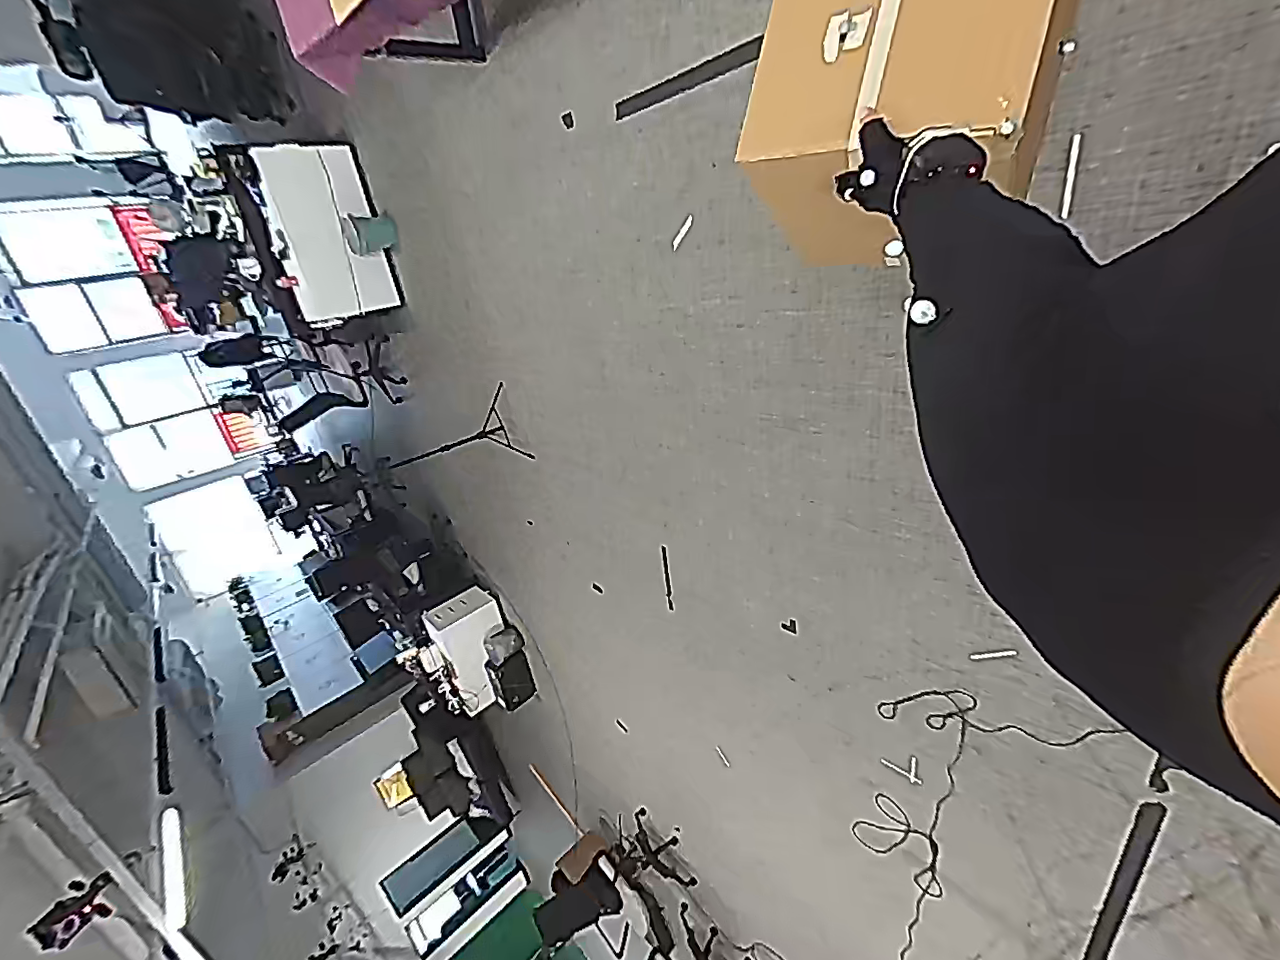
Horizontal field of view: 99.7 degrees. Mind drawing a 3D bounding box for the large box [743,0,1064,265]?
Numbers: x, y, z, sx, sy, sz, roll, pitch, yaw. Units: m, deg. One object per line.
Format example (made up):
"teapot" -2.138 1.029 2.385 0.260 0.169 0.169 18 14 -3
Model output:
"large box" 0.379 -0.559 0.751 0.320 0.320 0.408 14 92 34
